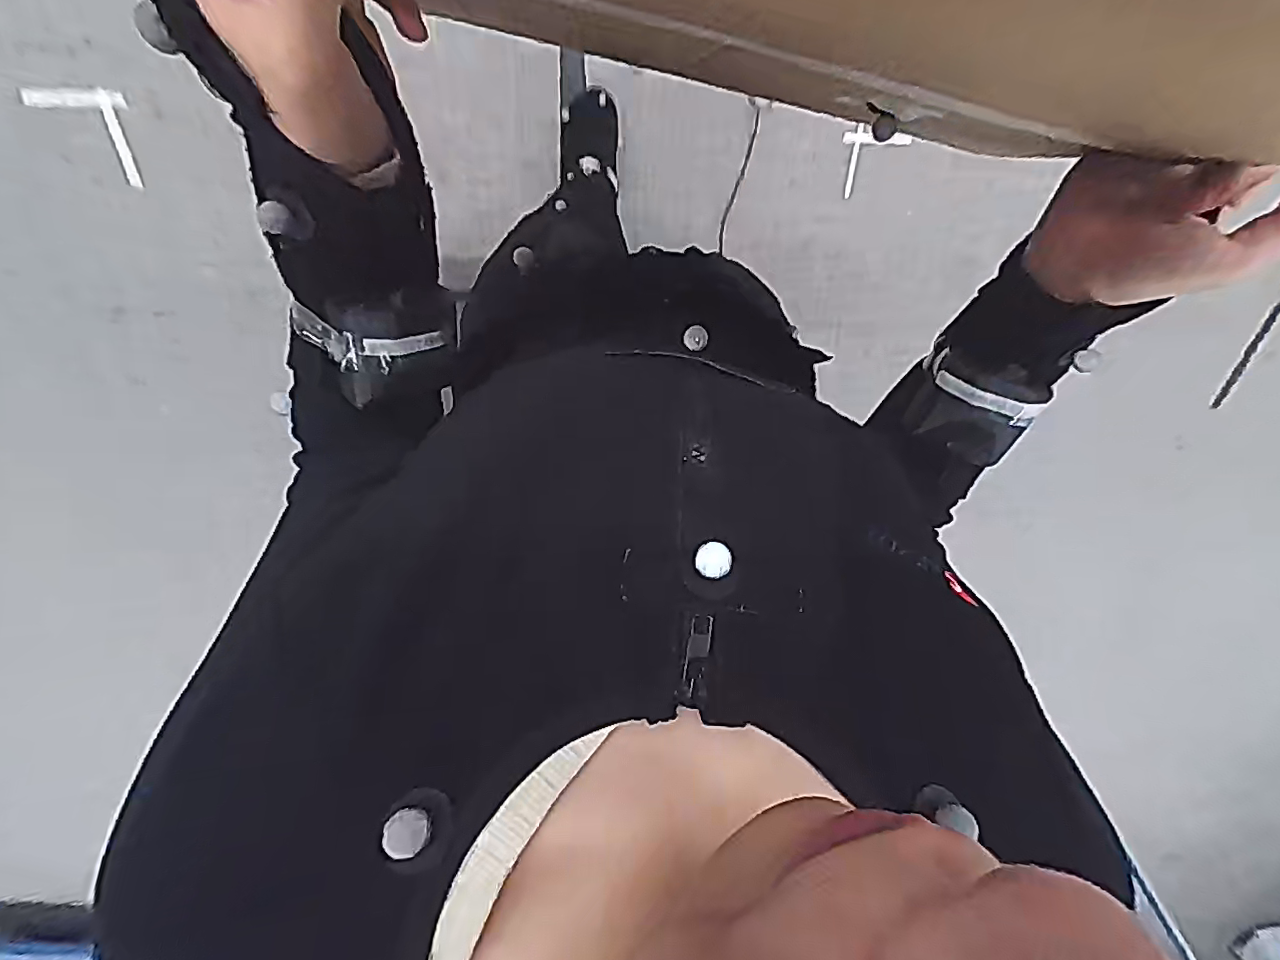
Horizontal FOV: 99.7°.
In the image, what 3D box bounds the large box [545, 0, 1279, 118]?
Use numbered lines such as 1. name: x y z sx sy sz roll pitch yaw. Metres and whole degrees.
1. large box: 0.099 -0.322 0.139 0.408 0.320 0.320 4 122 -12
